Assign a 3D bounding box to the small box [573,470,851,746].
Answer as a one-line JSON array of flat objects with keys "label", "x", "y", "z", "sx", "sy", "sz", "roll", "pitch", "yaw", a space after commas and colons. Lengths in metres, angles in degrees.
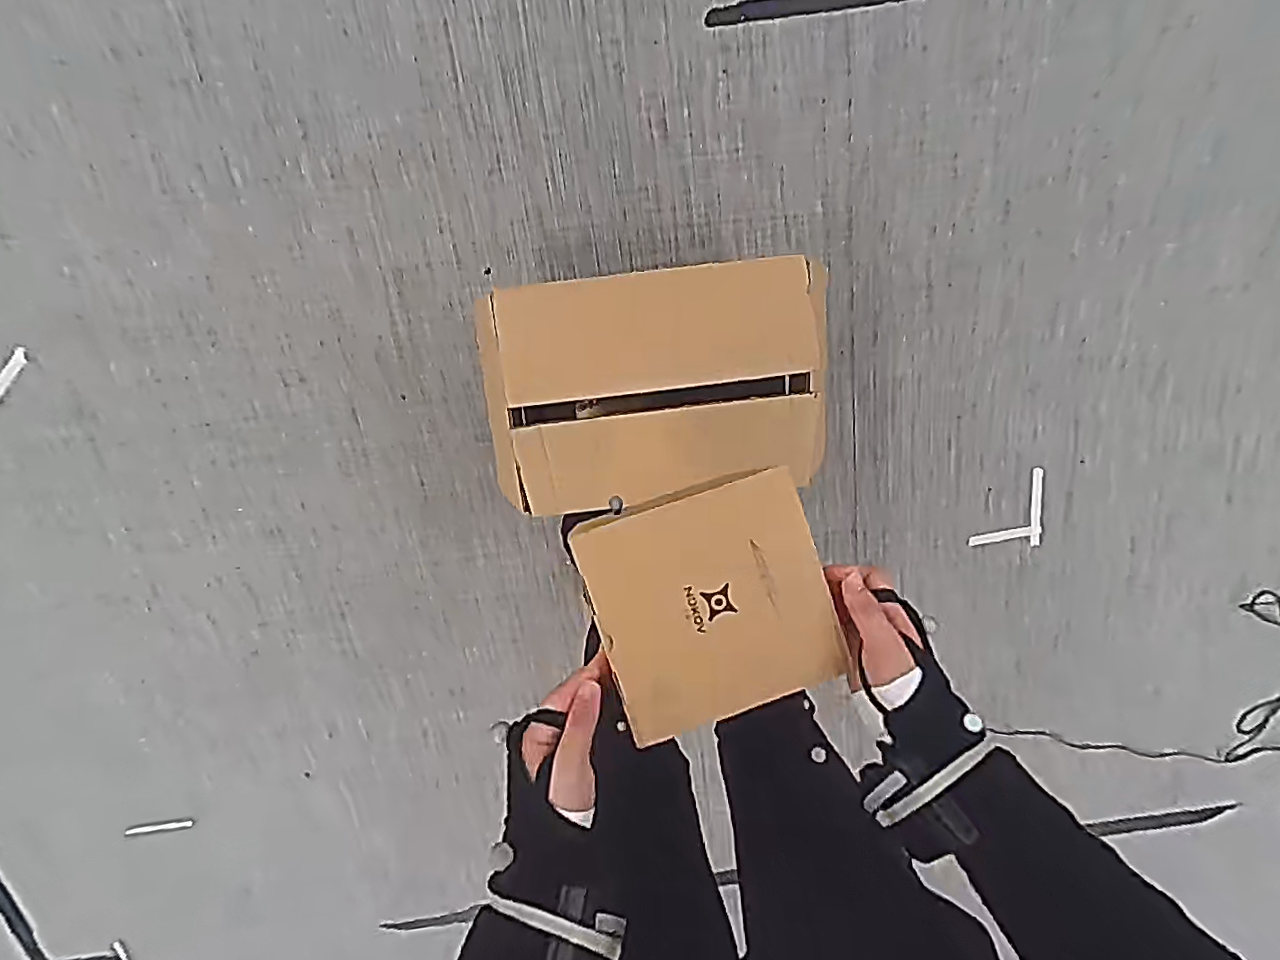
[{"label": "small box", "x": 0.051, "y": 0.097, "z": 0.487, "sx": 0.179, "sy": 0.176, "sz": 0.168, "roll": -19, "pitch": 91, "yaw": -5}]
